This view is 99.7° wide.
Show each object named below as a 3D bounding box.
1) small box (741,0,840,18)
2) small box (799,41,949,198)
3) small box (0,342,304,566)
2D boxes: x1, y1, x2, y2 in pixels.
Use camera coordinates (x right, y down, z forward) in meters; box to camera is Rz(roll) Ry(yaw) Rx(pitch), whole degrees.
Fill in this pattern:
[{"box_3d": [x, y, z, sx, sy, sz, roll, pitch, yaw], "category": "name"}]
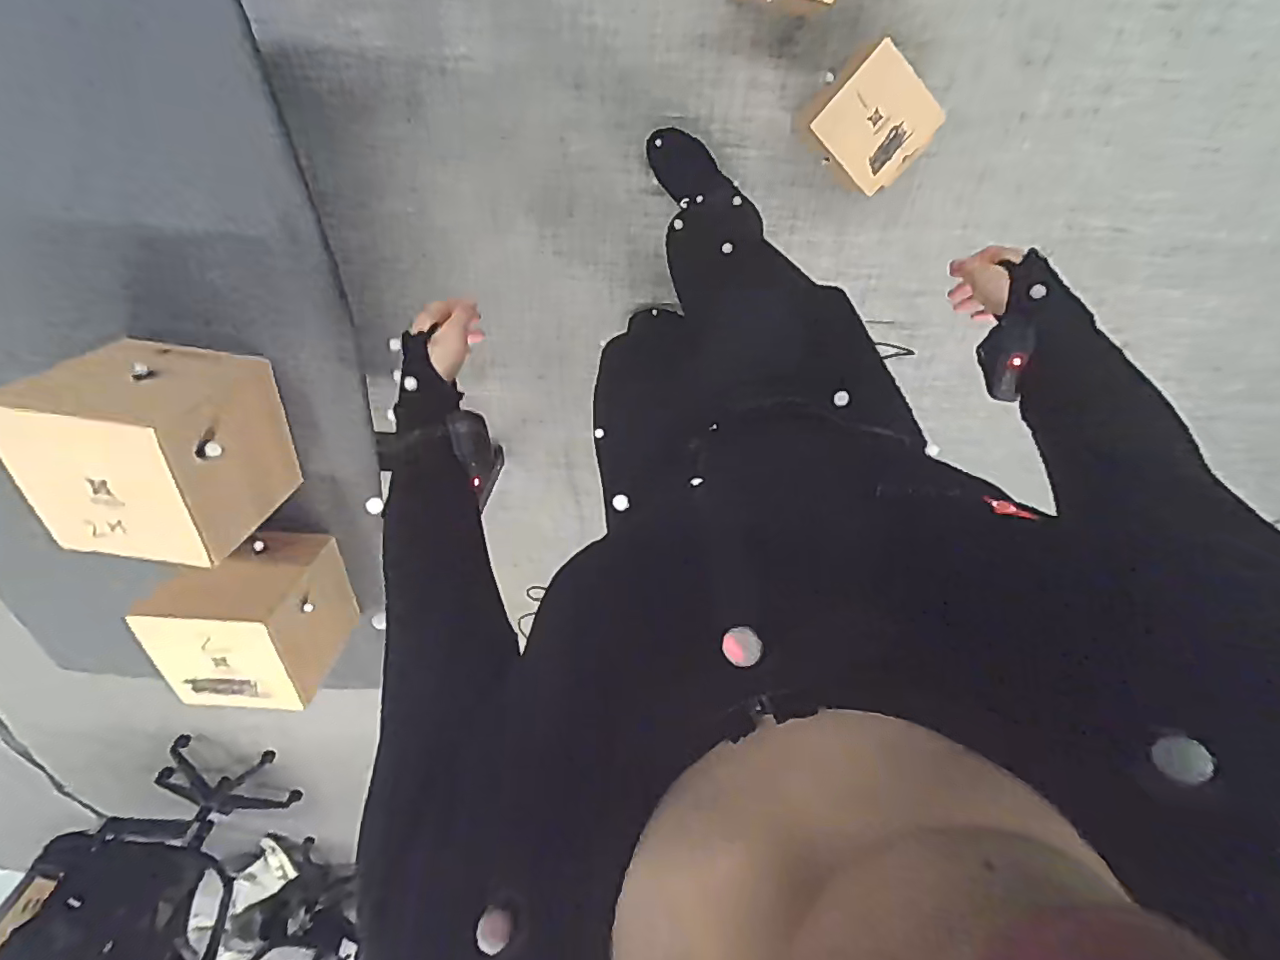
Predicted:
[{"box_3d": [0.254, -0.881, 0.867, 0.168, 0.176, 0.179, 10, 124, -5], "category": "small box"}, {"box_3d": [0.425, -0.666, 1.007, 0.179, 0.176, 0.168, 37, 118, -19], "category": "small box"}, {"box_3d": [-0.510, -0.035, 0.594, 0.168, 0.176, 0.179, 9, 125, -1], "category": "small box"}]
